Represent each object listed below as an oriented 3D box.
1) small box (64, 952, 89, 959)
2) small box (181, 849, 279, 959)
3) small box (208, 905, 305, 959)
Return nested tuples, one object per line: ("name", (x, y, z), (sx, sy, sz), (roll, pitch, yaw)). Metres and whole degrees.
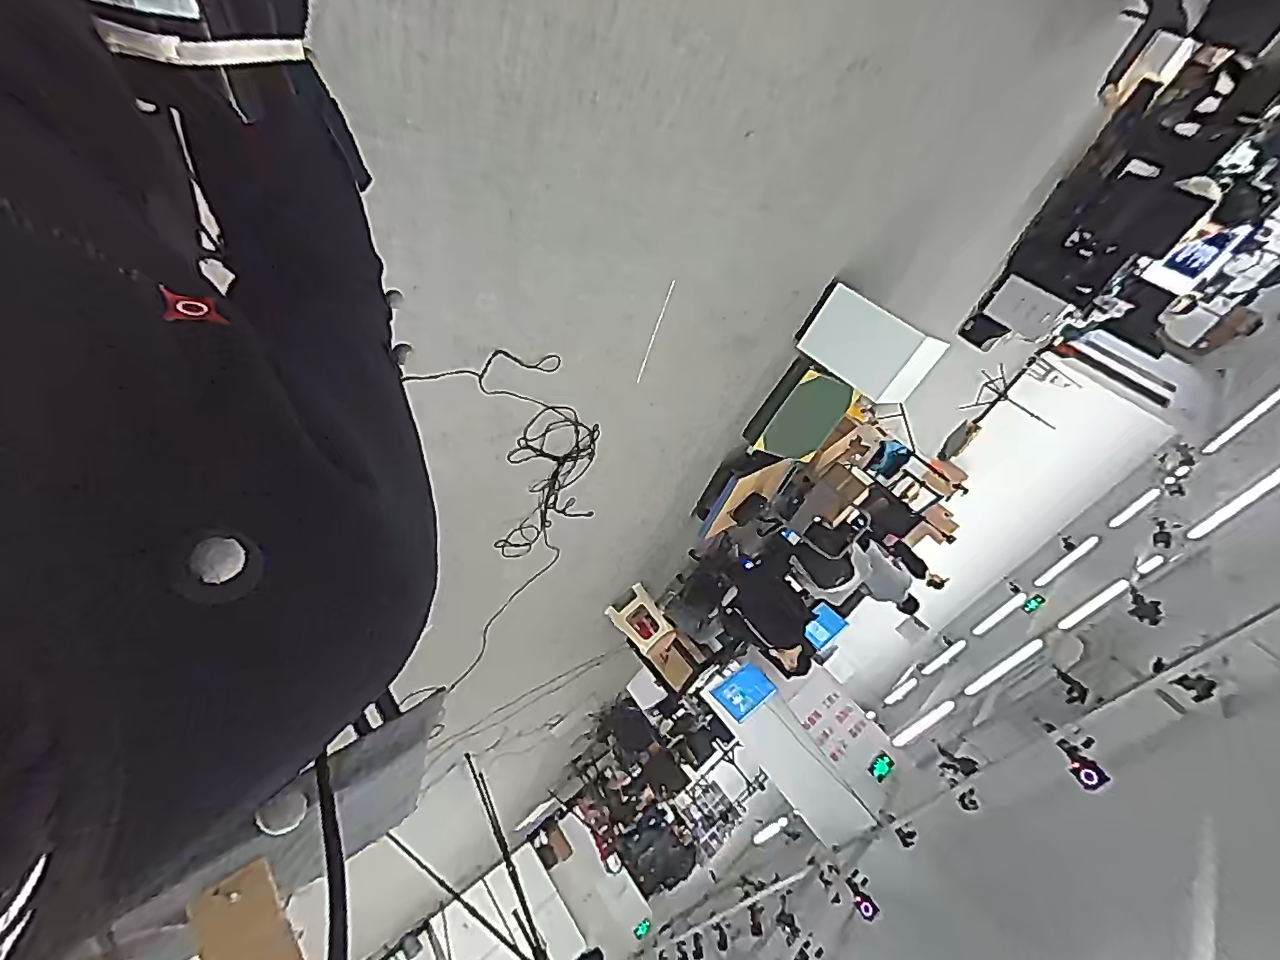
("small box", (-1.274, 1.164, 1.151), (0.179, 0.176, 0.168), (-18, 145, -42))
("small box", (-1.037, 1.090, 1.380), (0.168, 0.176, 0.179), (-20, 145, -41))
("small box", (-0.931, 1.194, 1.314), (0.179, 0.176, 0.168), (-22, 148, -41))
